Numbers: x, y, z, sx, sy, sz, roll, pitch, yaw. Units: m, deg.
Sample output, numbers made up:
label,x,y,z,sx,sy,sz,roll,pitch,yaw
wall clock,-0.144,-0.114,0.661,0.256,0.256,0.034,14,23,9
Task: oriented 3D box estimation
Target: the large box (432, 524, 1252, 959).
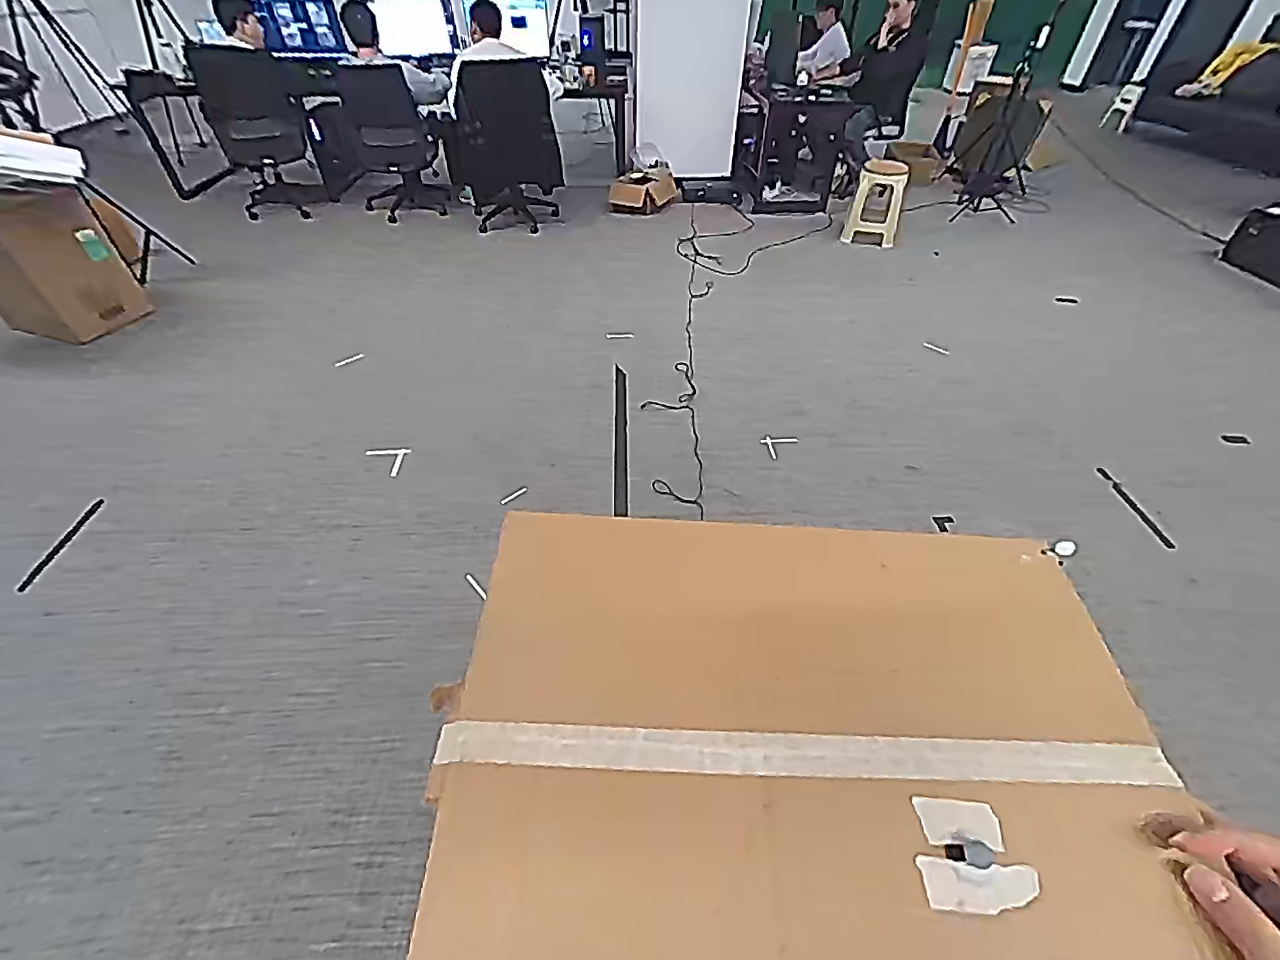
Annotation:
label,x,y,z,sx,sy,sz,roll,pitch,yaw
large box,0.091,0.254,0.426,0.408,0.320,0.320,4,51,-3
